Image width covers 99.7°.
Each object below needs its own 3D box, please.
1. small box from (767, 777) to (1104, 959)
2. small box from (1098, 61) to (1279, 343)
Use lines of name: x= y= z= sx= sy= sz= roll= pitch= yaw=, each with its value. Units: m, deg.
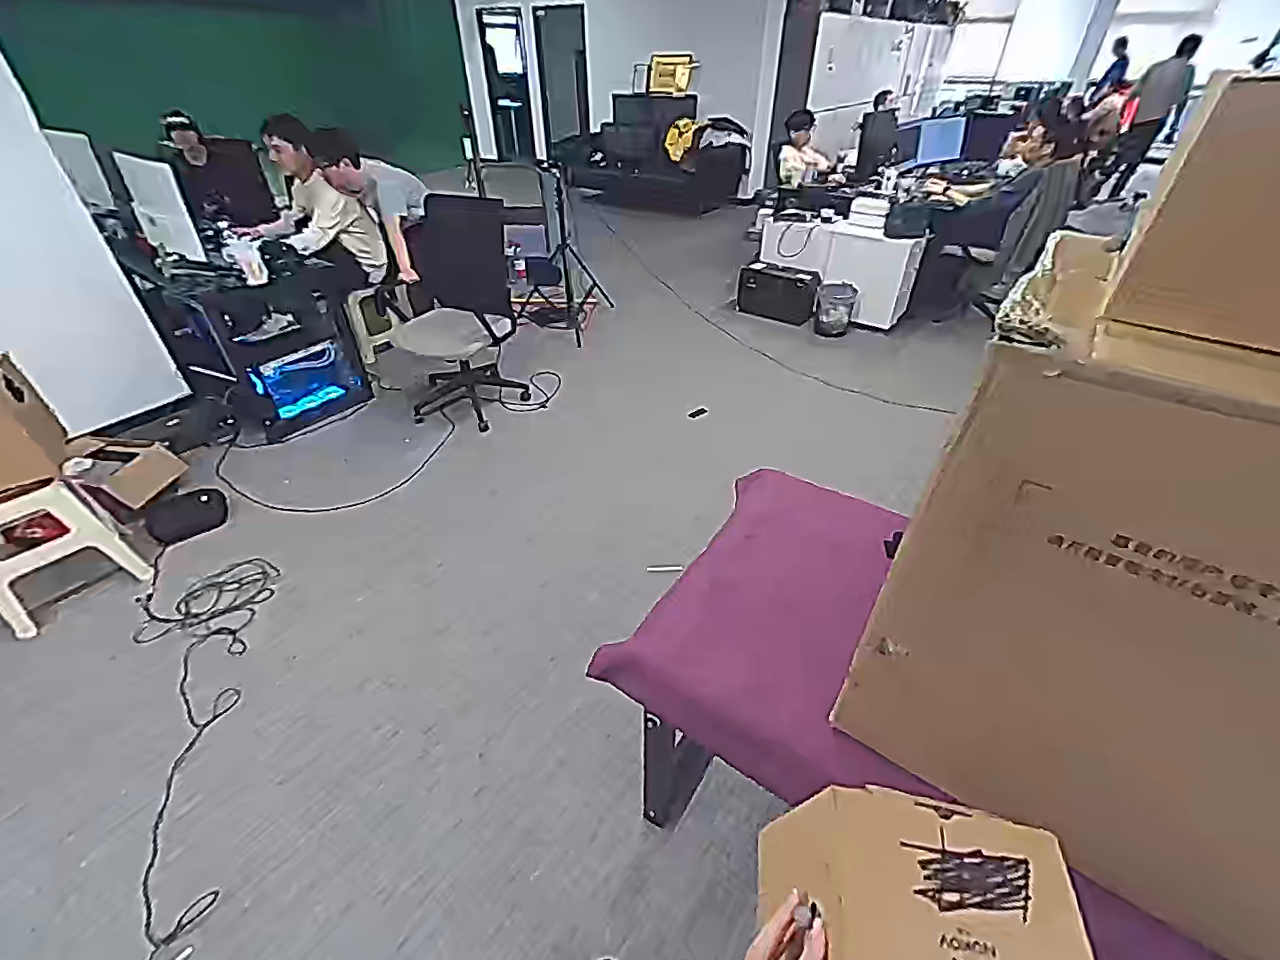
small box: x=0.194 y=0.345 z=0.384 sx=0.168 sy=0.176 sz=0.179 roll=12 pitch=46 yaw=0
small box: x=0.505 y=-0.213 z=0.417 sx=0.179 sy=0.176 sz=0.168 roll=24 pitch=44 yaw=28
